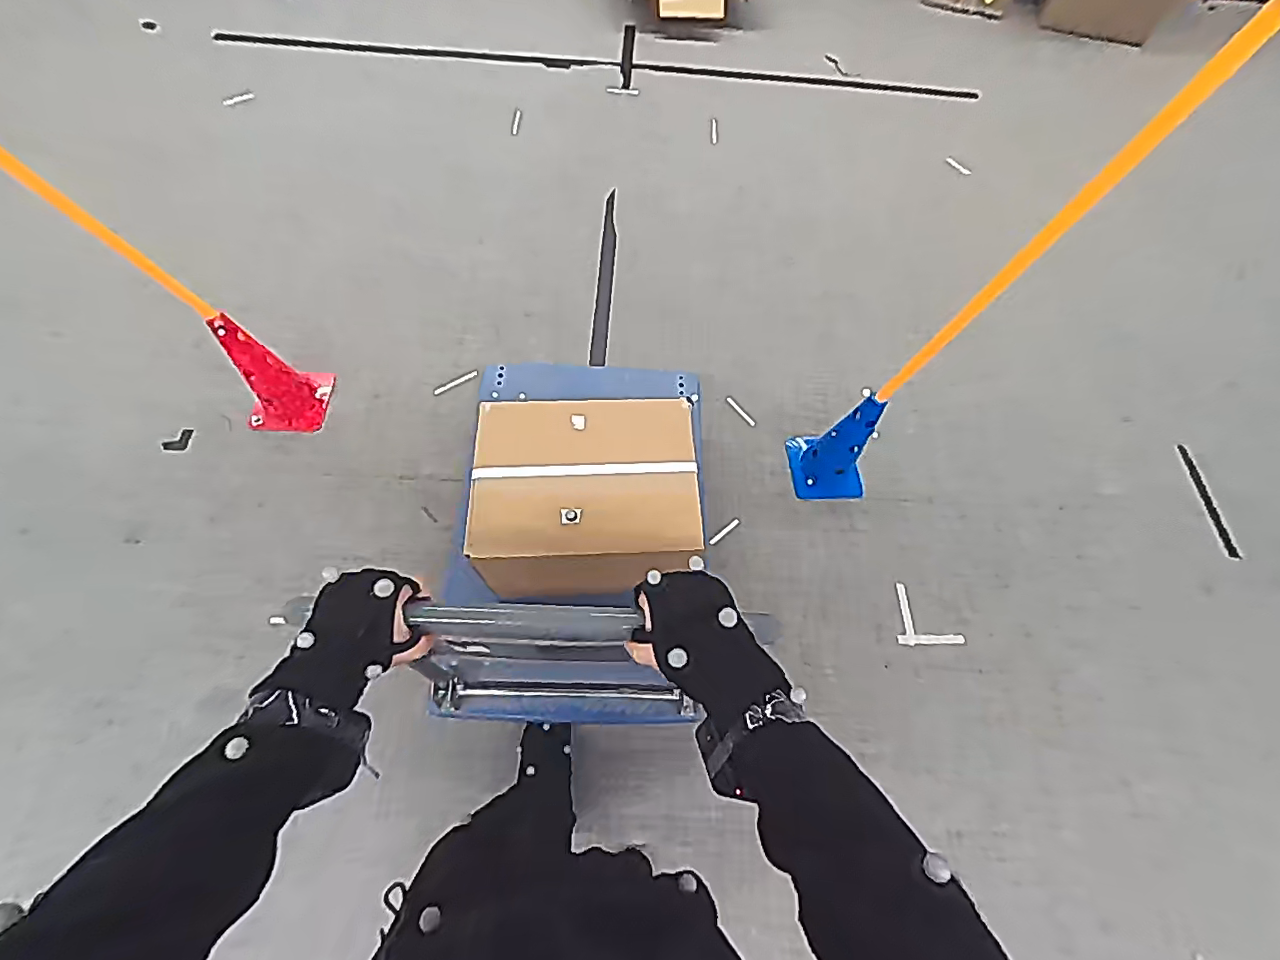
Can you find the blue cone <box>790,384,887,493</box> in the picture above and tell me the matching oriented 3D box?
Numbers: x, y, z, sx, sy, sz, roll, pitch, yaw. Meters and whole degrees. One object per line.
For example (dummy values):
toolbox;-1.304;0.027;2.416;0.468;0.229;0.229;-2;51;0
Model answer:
blue cone;0.548;-0.119;1.419;0.193;0.380;0.192;0;64;-4
